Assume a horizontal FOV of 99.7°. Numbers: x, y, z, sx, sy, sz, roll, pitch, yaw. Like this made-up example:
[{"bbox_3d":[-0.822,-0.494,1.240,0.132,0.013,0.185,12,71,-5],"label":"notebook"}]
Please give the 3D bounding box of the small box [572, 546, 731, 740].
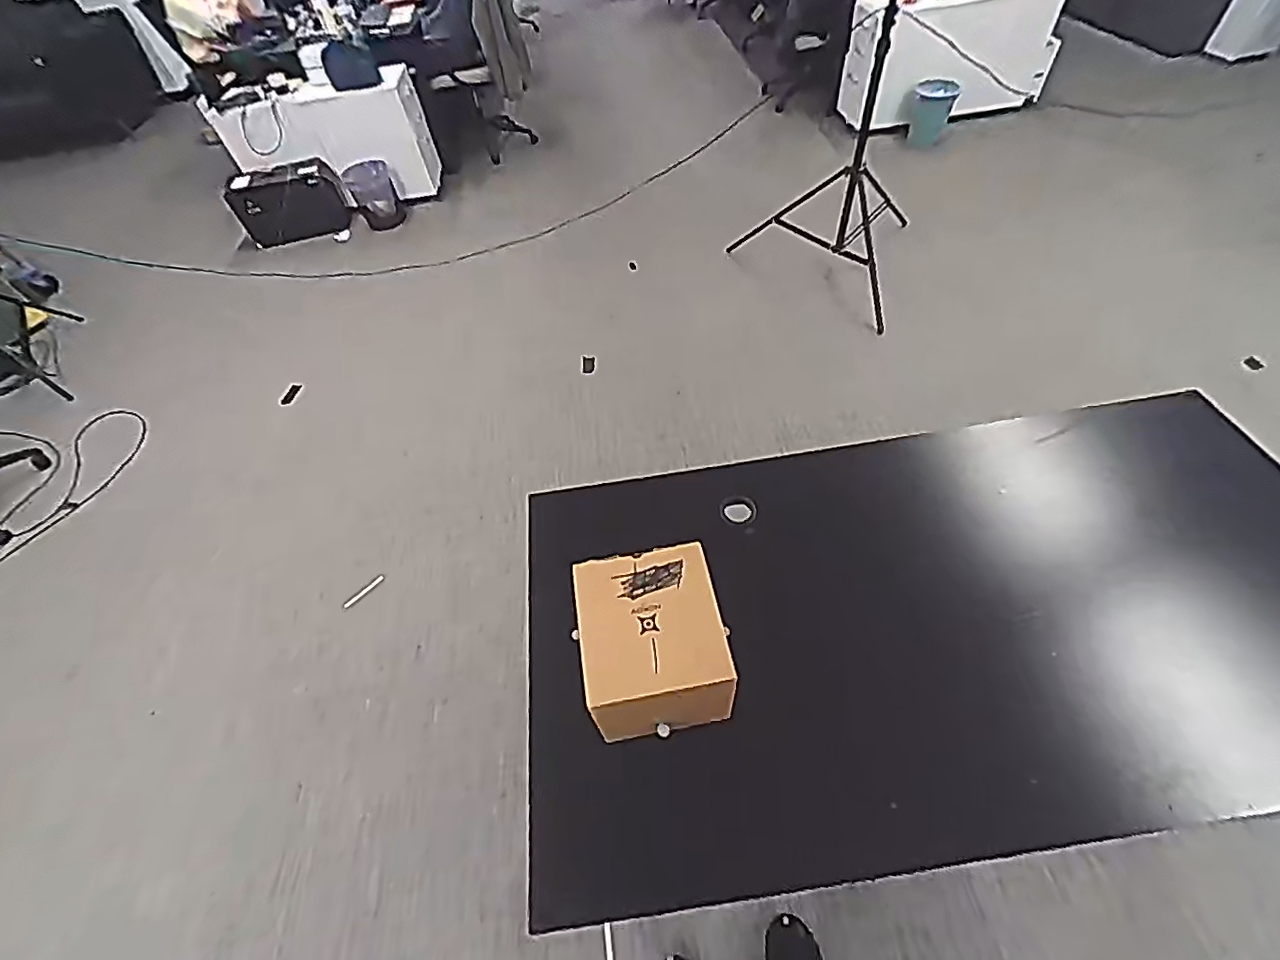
[{"bbox_3d":[0.012,0.211,0.695,0.168,0.176,0.179,-11,53,-2],"label":"small box"}]
